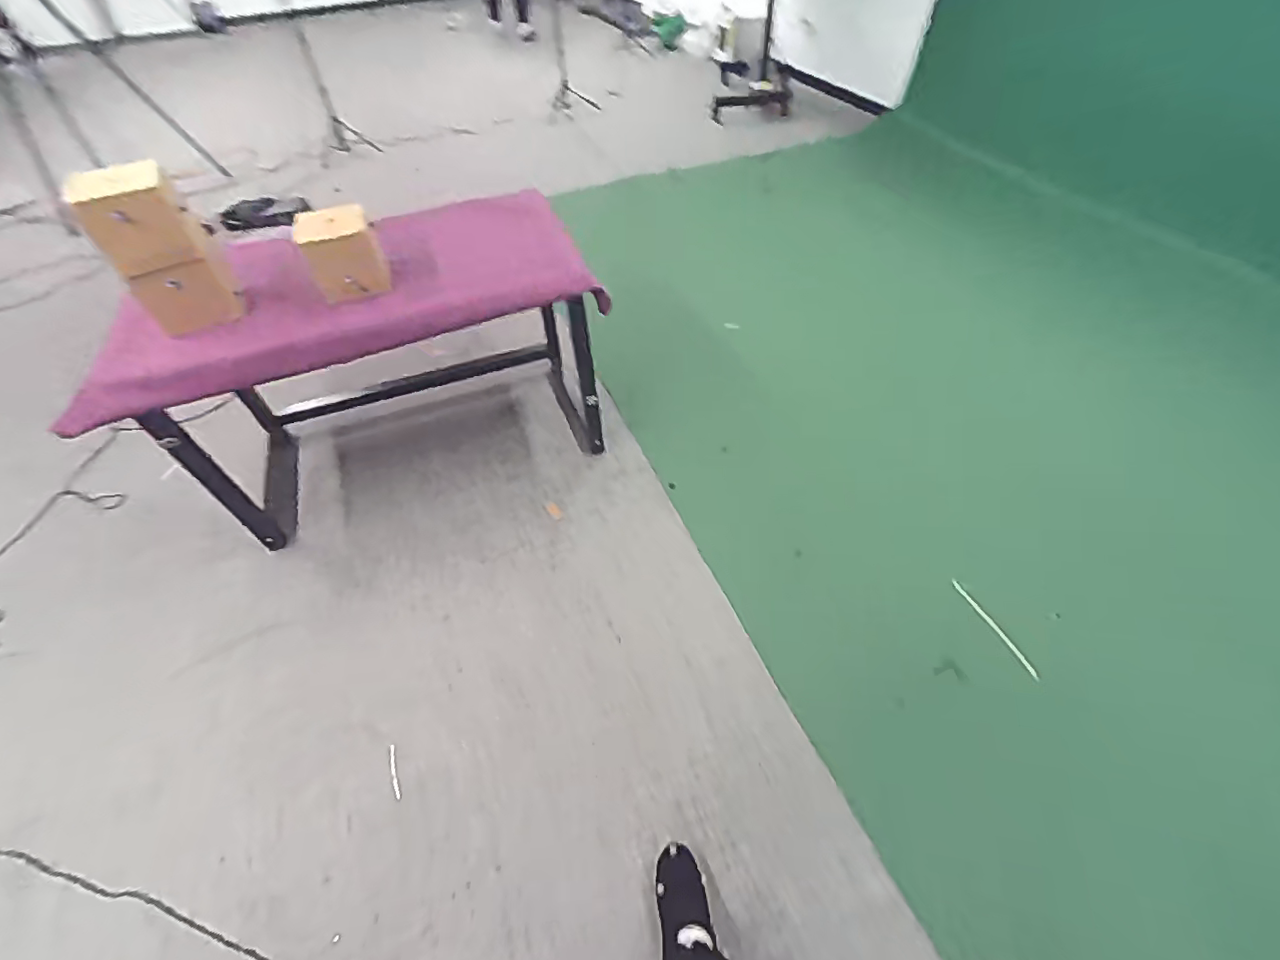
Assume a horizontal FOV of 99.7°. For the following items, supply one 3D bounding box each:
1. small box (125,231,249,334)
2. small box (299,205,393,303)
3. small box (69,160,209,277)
[{"bbox_3d":[-1.127,-0.494,1.360,0.179,0.176,0.168,-21,53,-15],"label":"small box"},{"bbox_3d":[-0.770,-0.597,1.430,0.168,0.176,0.179,-16,51,-11],"label":"small box"},{"bbox_3d":[-1.125,-0.596,1.234,0.179,0.176,0.168,-23,54,-16],"label":"small box"}]
